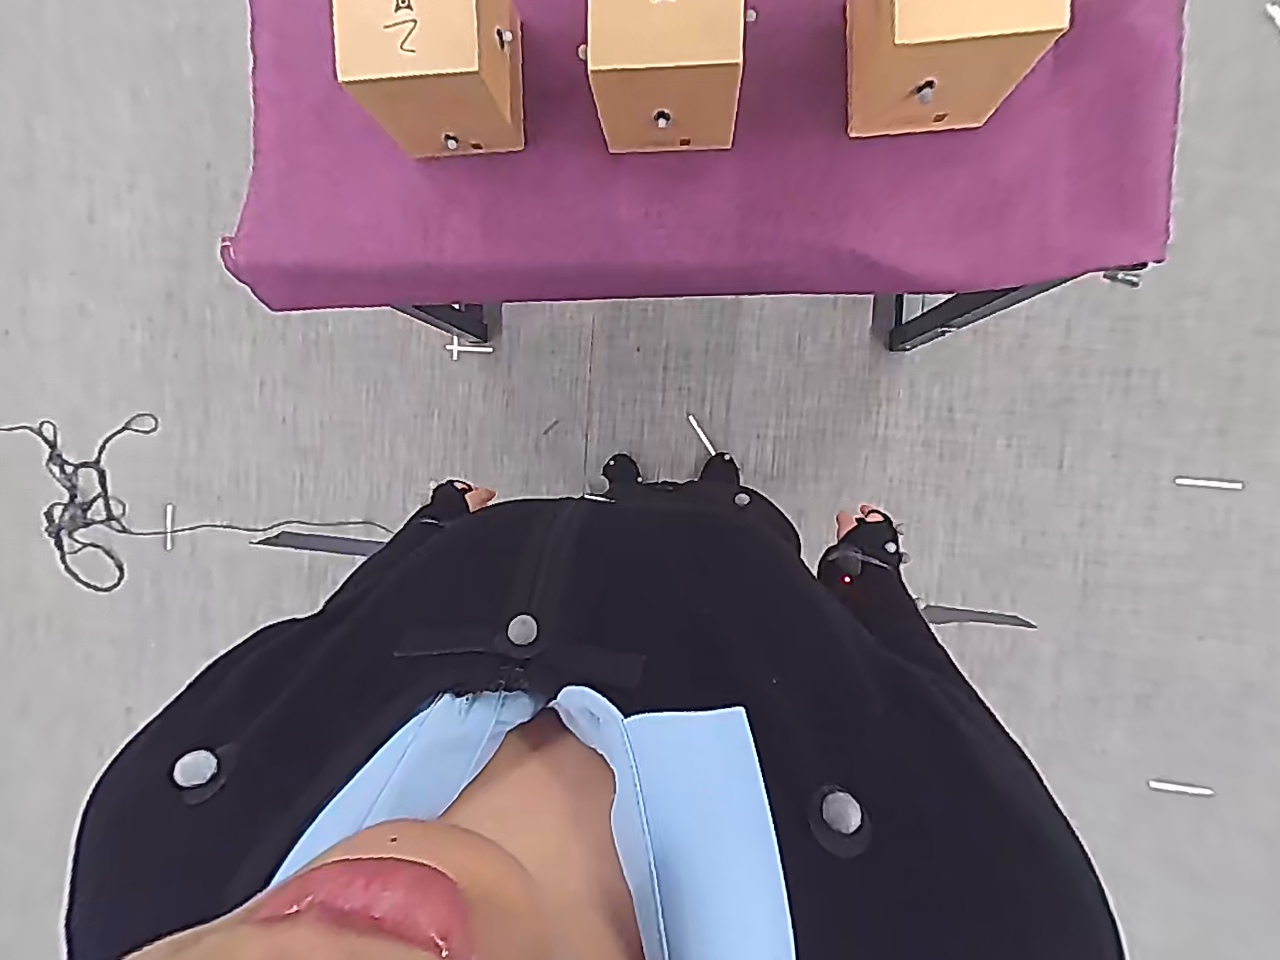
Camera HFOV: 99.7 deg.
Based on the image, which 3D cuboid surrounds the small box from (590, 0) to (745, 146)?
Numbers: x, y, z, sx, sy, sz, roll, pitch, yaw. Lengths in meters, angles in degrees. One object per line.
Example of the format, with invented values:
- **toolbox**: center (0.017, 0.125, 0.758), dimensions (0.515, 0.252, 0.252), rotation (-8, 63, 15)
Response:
- **small box**: center (0.037, -0.527, 0.645), dimensions (0.168, 0.176, 0.179), rotation (2, 93, 4)

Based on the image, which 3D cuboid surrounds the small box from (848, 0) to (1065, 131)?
- **small box**: center (0.345, -0.529, 0.618), dimensions (0.168, 0.176, 0.179), rotation (-1, 92, 6)
